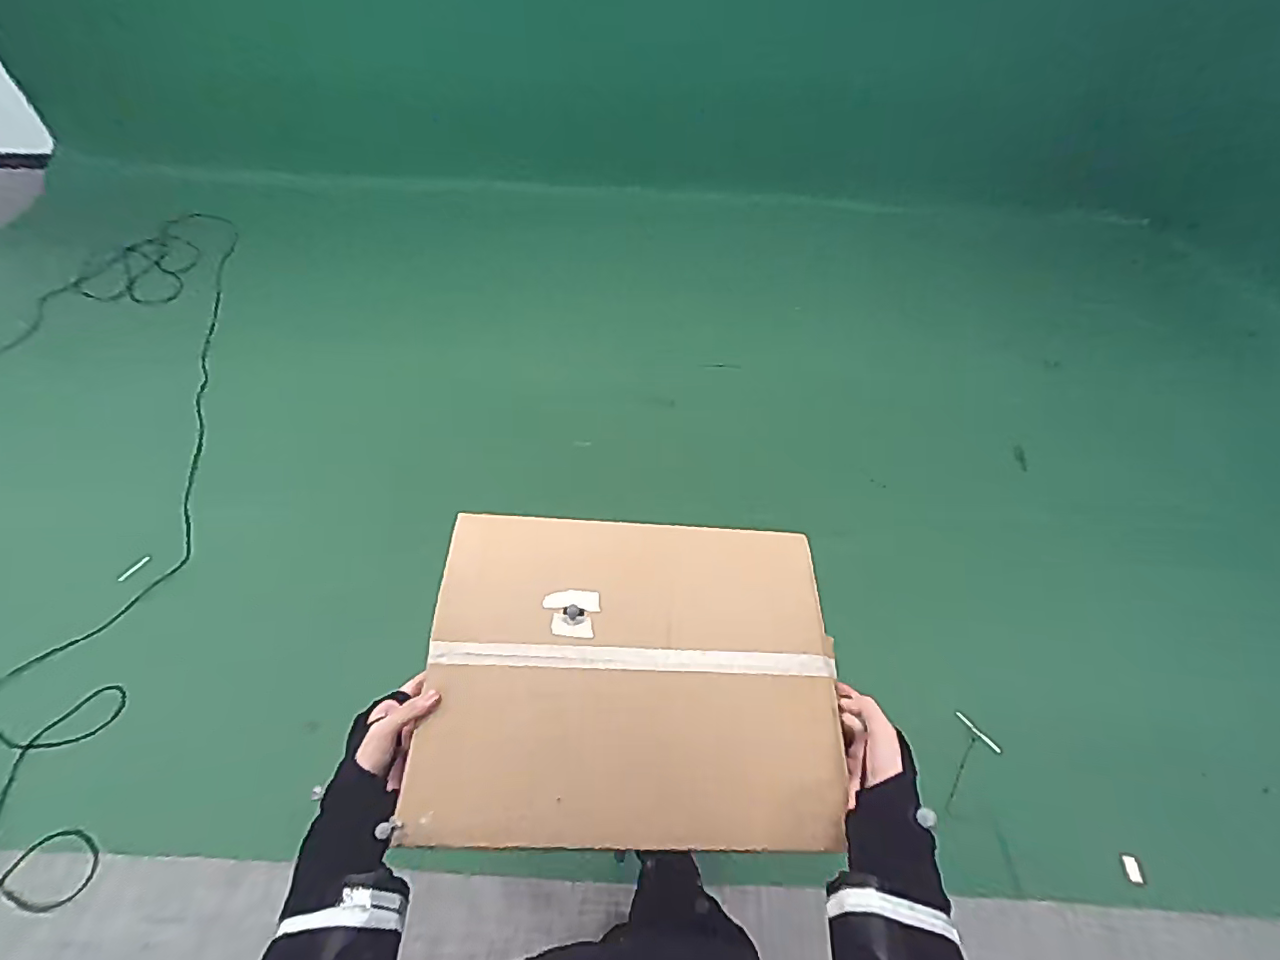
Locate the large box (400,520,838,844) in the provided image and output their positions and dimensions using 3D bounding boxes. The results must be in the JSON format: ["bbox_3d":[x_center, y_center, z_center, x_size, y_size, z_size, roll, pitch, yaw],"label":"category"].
[{"bbox_3d":[-0.023,0.263,0.687,0.408,0.320,0.320,4,58,-4],"label":"large box"}]
